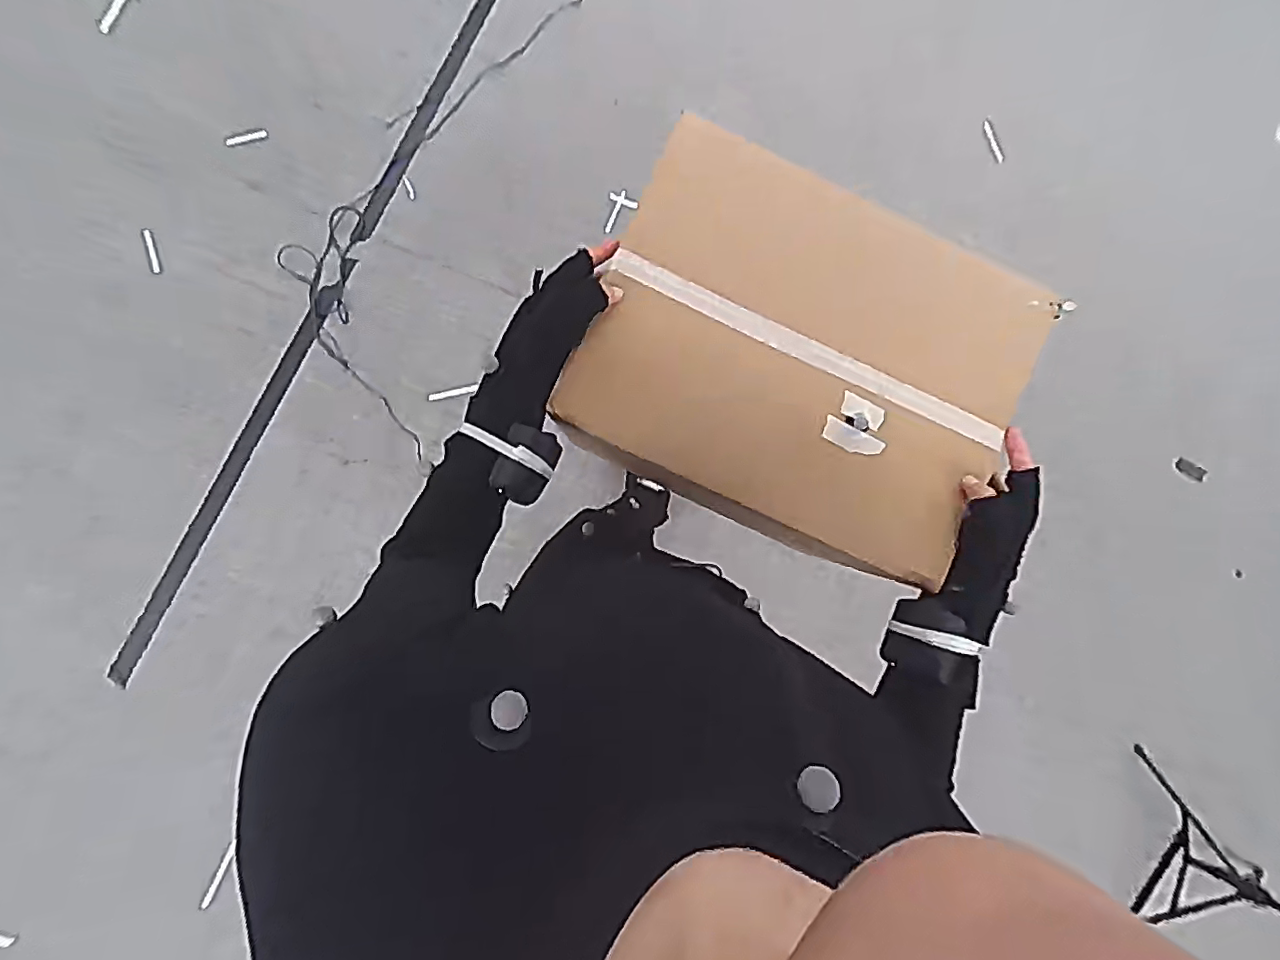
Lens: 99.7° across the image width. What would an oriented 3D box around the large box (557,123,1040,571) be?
[{"bbox_3d":[0.148,-0.125,0.670,0.408,0.320,0.320,25,88,-3],"label":"large box"}]
